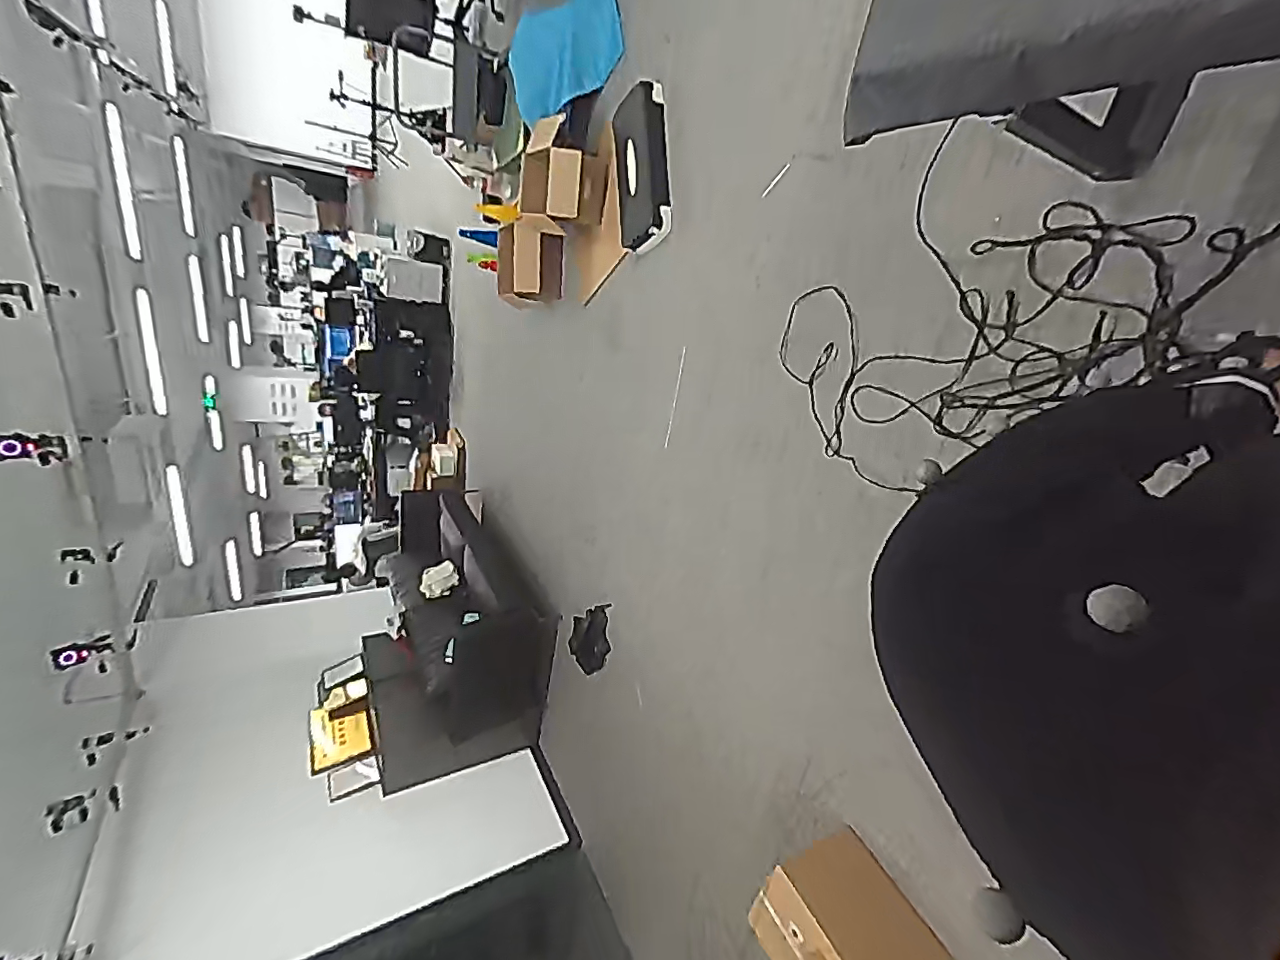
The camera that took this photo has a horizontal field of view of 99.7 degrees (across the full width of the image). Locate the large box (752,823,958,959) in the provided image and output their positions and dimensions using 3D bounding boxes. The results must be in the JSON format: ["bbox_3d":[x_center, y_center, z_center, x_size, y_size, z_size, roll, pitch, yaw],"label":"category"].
[{"bbox_3d":[0.606,1.327,1.575,0.408,0.320,0.320,47,131,48],"label":"large box"}]
